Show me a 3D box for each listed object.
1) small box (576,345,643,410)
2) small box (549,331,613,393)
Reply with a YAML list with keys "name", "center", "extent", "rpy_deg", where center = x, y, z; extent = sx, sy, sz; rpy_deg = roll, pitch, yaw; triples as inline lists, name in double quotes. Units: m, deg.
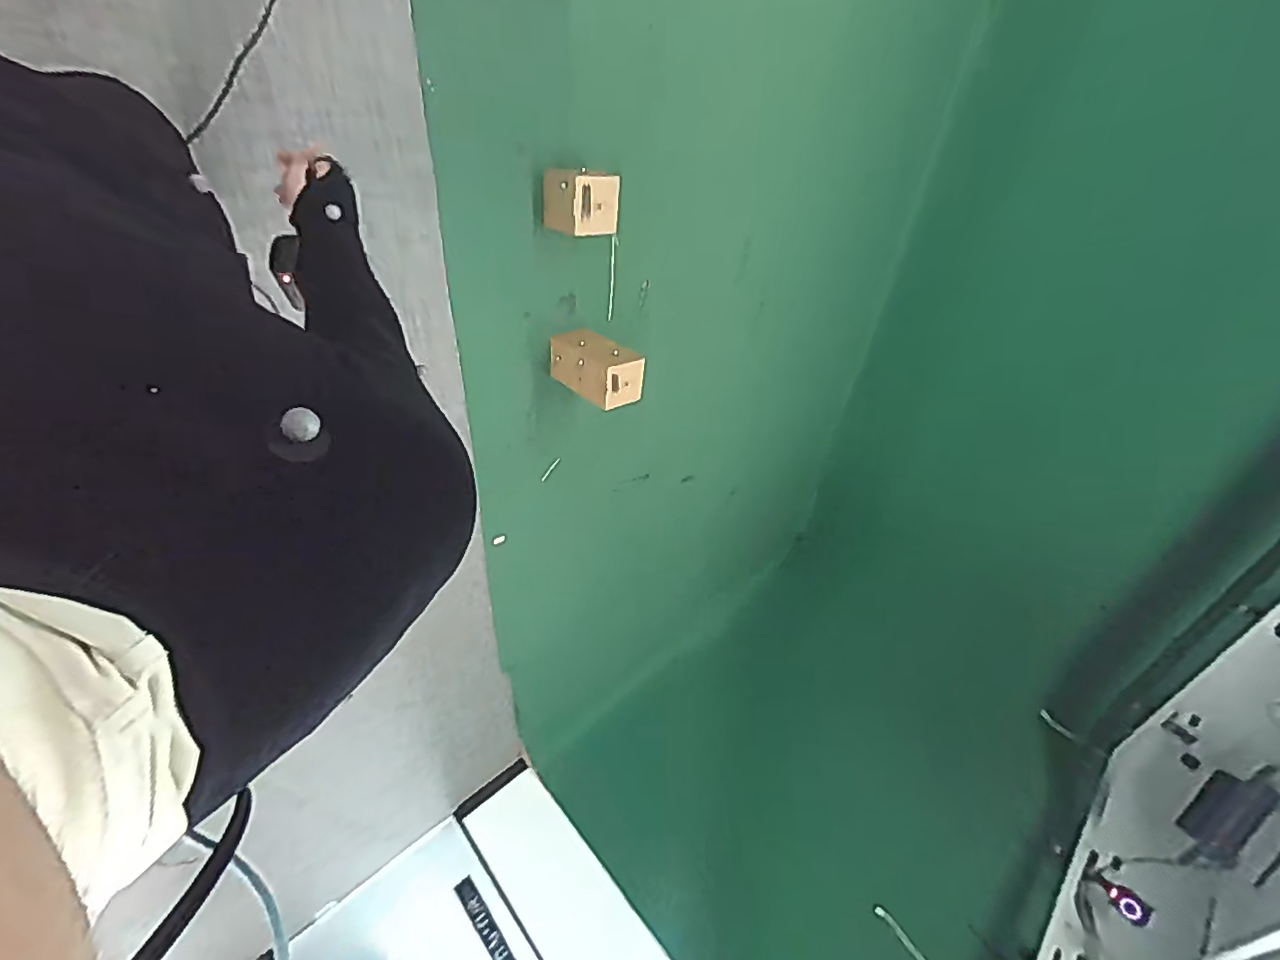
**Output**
- name: "small box"
  center: [-0.114, -0.375, 1.957]
  extent: [0.179, 0.176, 0.168]
  rpy_deg: [-23, 136, -37]
- name: "small box"
  center: [-0.225, -0.453, 2.050]
  extent: [0.179, 0.176, 0.168]
  rpy_deg: [-24, 135, -36]
